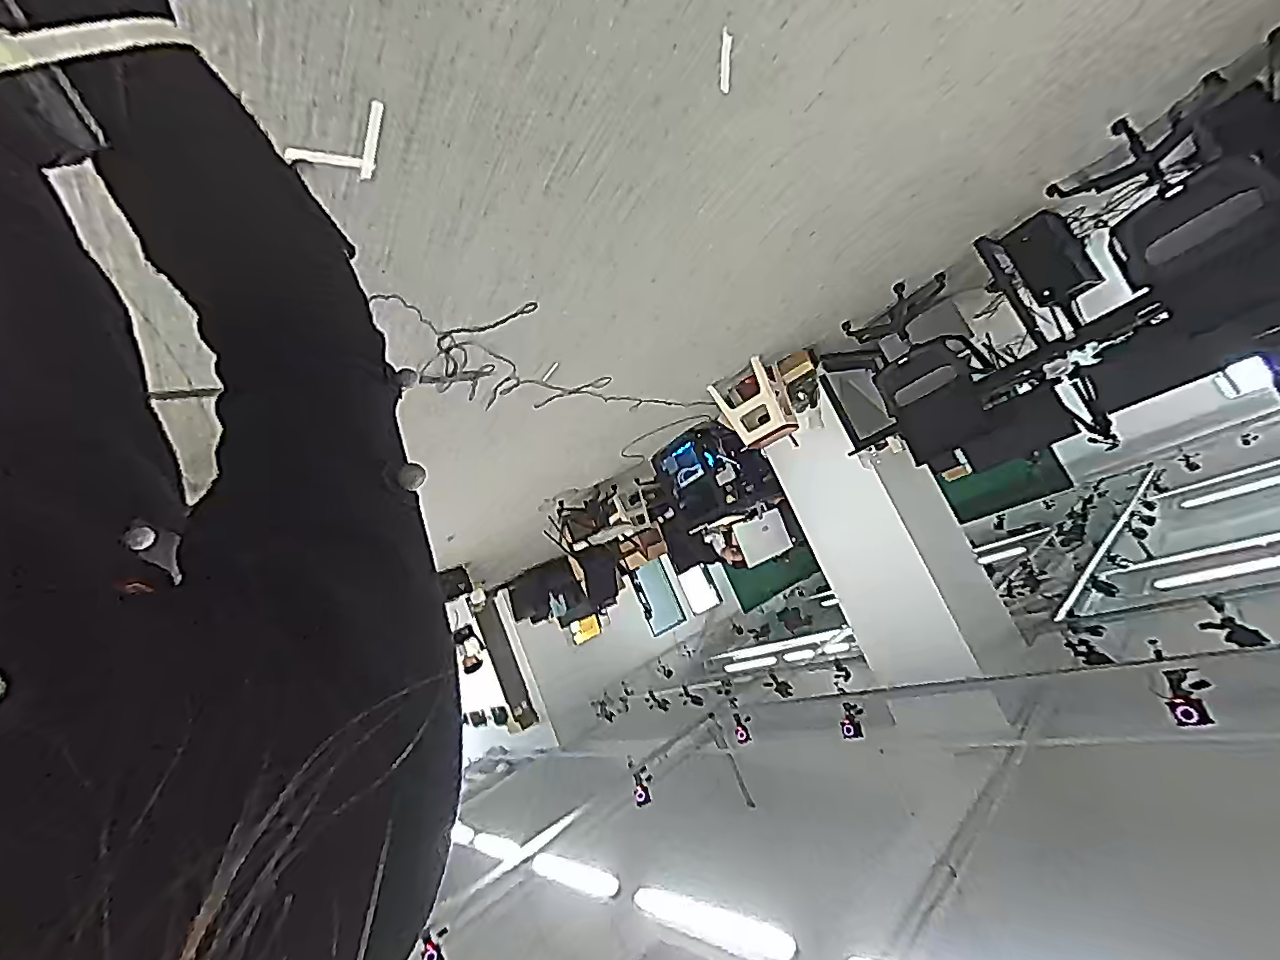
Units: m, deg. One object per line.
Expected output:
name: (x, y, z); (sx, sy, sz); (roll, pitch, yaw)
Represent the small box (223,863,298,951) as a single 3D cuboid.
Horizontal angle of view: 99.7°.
small box: (-1.318, 1.465, 1.876); (0.179, 0.176, 0.168); (-16, 167, -40)
